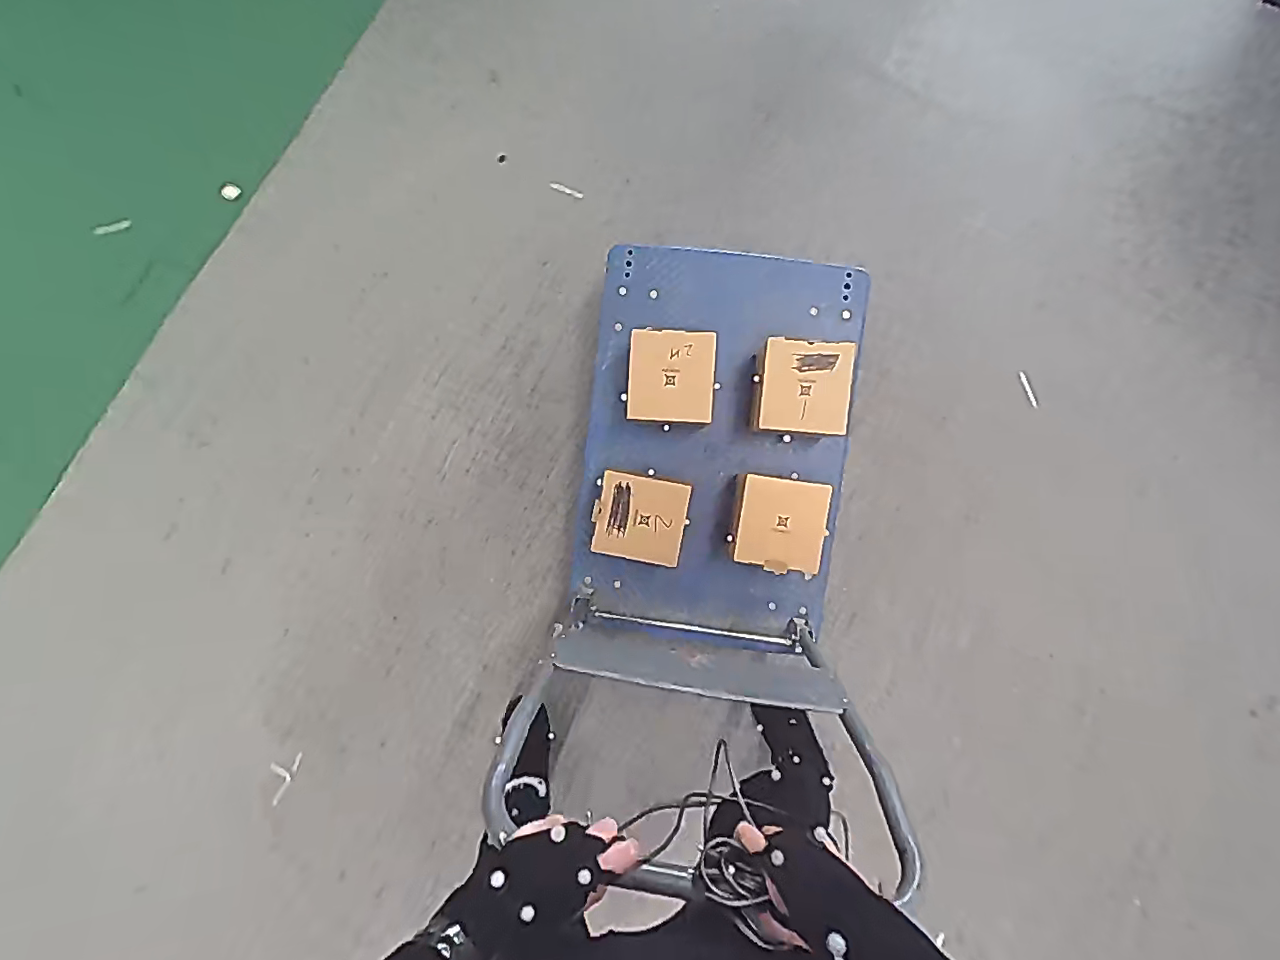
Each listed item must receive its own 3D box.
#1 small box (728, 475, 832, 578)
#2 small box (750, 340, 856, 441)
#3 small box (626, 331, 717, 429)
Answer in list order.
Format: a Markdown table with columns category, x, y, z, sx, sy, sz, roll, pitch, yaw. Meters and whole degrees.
| category | x | y | z | sx | sy | sz | roll | pitch | yaw |
| --- | --- | --- | --- | --- | --- | --- | --- | --- | --- |
| small box | 0.279 | 0.086 | 1.115 | 0.168 | 0.176 | 0.179 | 9 | 93 | 5 |
| small box | 0.322 | -0.175 | 1.100 | 0.168 | 0.176 | 0.179 | 6 | 94 | 5 |
| small box | 0.067 | -0.199 | 1.119 | 0.168 | 0.176 | 0.179 | 4 | 93 | 4 |
